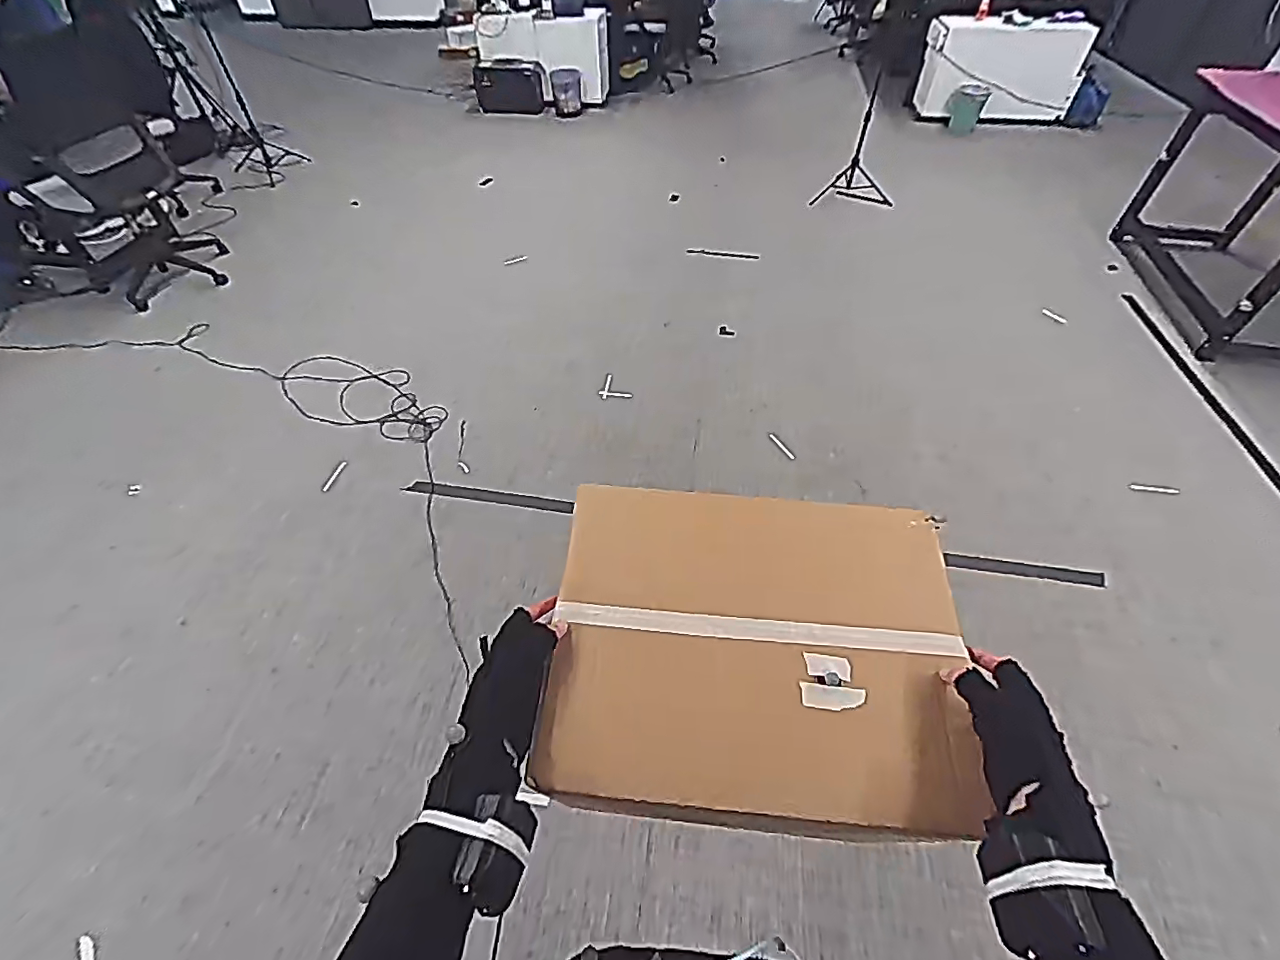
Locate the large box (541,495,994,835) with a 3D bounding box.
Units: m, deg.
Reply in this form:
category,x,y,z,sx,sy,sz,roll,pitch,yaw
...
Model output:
category,x,y,z,sx,sy,sz,roll,pitch,yaw
large box,0.118,0.240,0.675,0.408,0.320,0.320,5,57,3
